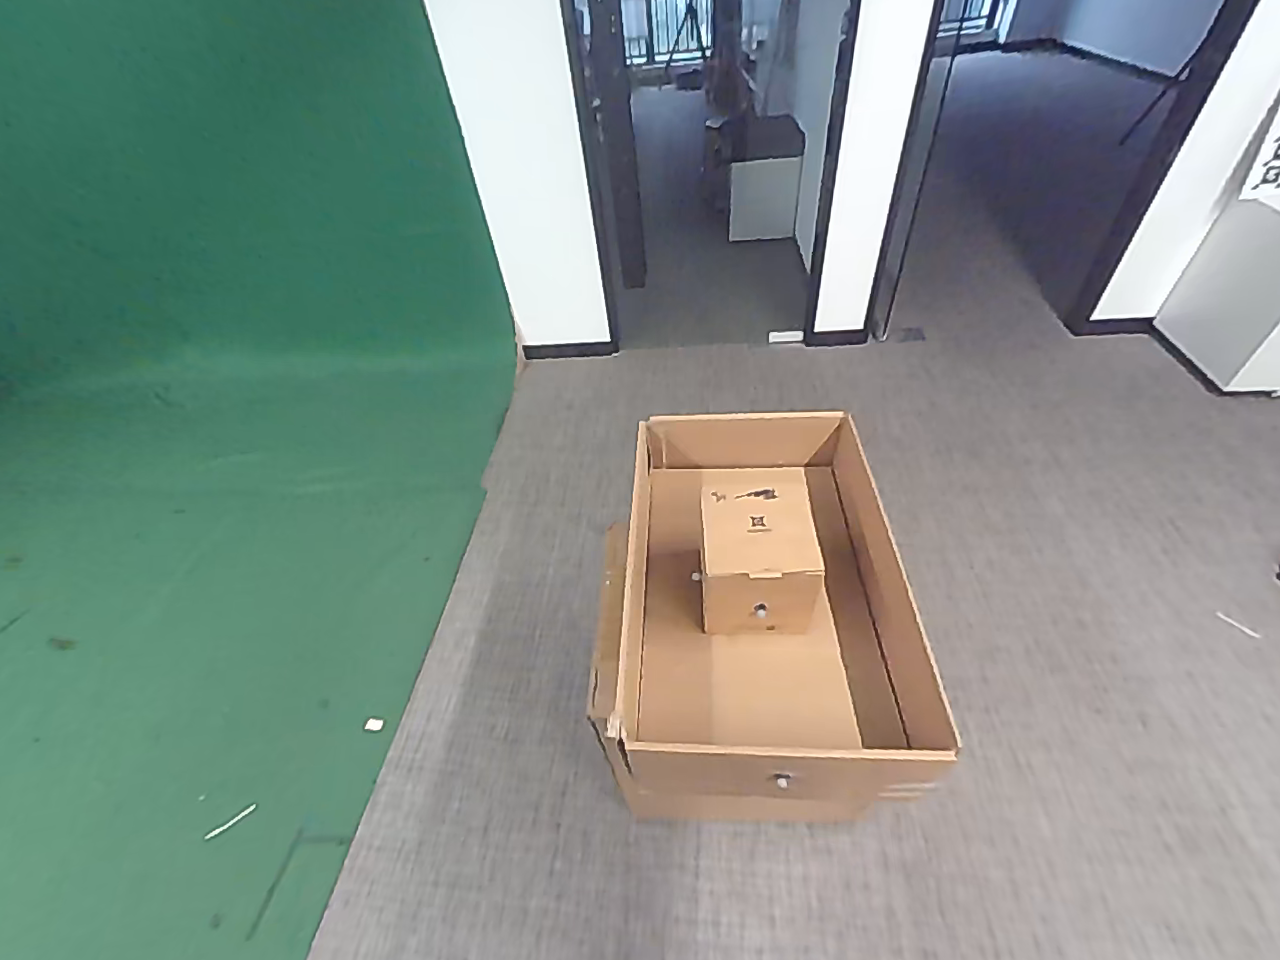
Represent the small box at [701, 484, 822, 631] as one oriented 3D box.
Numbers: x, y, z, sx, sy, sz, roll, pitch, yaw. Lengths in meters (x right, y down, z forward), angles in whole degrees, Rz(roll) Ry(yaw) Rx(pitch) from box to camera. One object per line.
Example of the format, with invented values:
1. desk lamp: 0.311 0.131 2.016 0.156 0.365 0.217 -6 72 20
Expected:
1. small box: 0.184 0.127 0.864 0.168 0.176 0.179 -1 45 5
